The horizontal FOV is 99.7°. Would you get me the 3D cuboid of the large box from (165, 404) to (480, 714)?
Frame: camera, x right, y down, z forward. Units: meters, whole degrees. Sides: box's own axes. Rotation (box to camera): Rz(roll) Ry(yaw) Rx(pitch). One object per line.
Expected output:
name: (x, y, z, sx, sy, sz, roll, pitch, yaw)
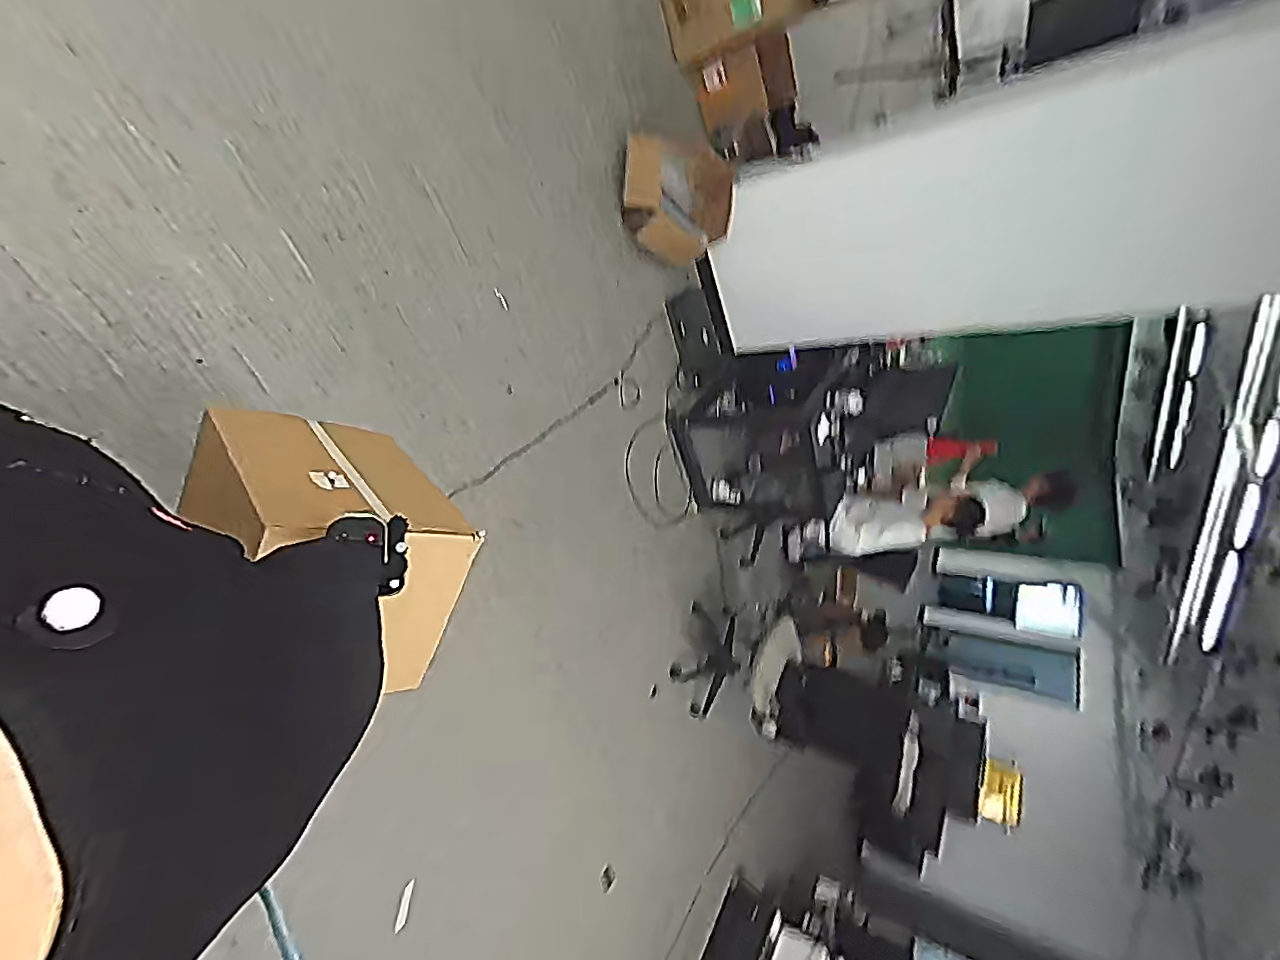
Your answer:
large box: (-0.557, 0.113, 0.932, 0.320, 0.408, 0.320, 8, 112, -51)
